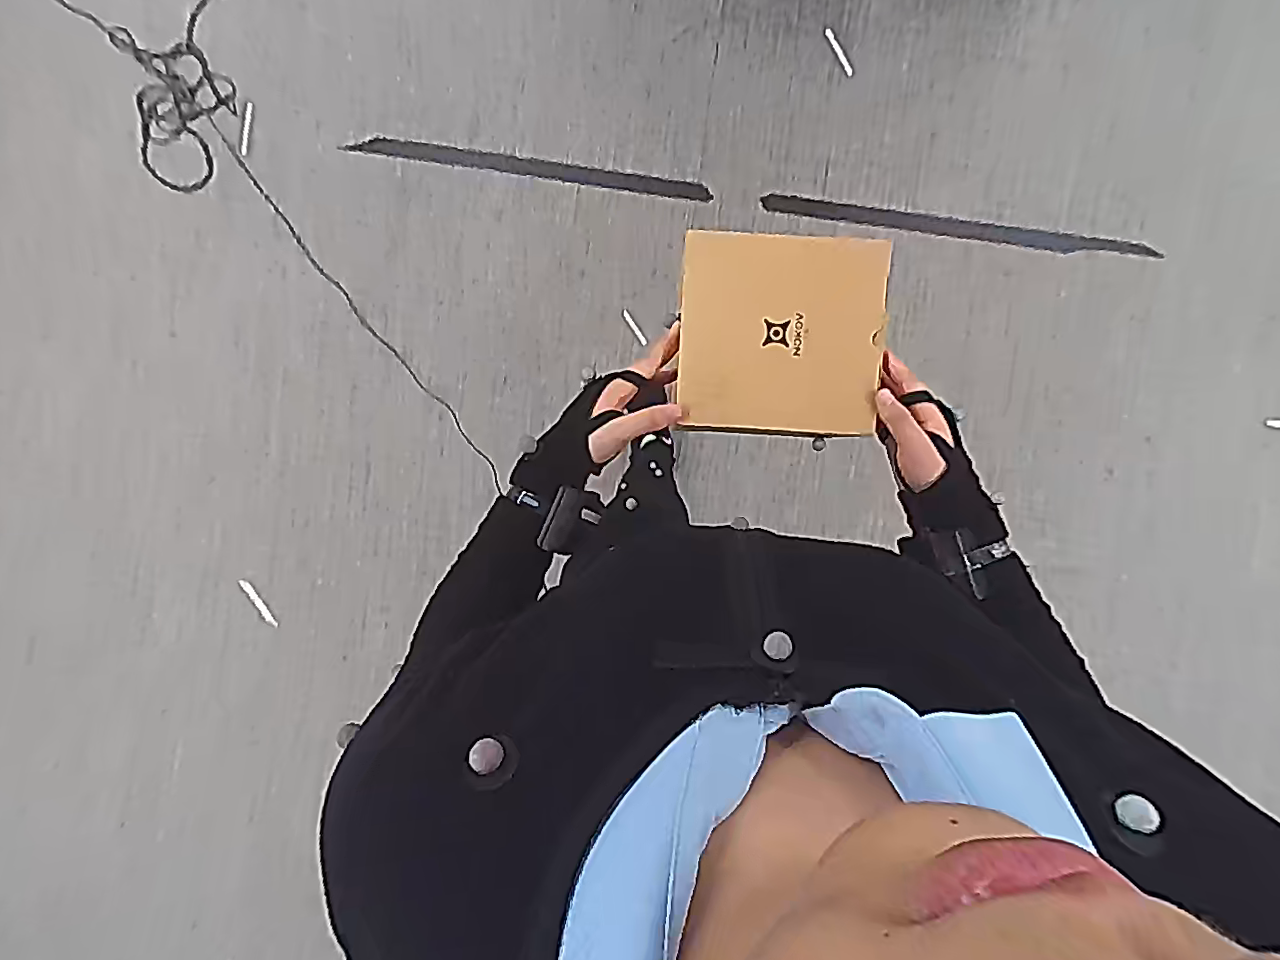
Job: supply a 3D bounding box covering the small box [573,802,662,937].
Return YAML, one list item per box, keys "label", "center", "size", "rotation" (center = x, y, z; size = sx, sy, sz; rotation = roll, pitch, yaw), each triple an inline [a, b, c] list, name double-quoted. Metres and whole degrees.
- label: "small box"
  center: [-0.048, 0.894, 1.258]
  size: [0.168, 0.176, 0.179]
  rotation: [12, 93, 2]

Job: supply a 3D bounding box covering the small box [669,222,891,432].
- label: "small box"
  center: [0.121, -0.136, 0.536]
  size: [0.179, 0.176, 0.168]
  rotation: [3, 94, 0]
